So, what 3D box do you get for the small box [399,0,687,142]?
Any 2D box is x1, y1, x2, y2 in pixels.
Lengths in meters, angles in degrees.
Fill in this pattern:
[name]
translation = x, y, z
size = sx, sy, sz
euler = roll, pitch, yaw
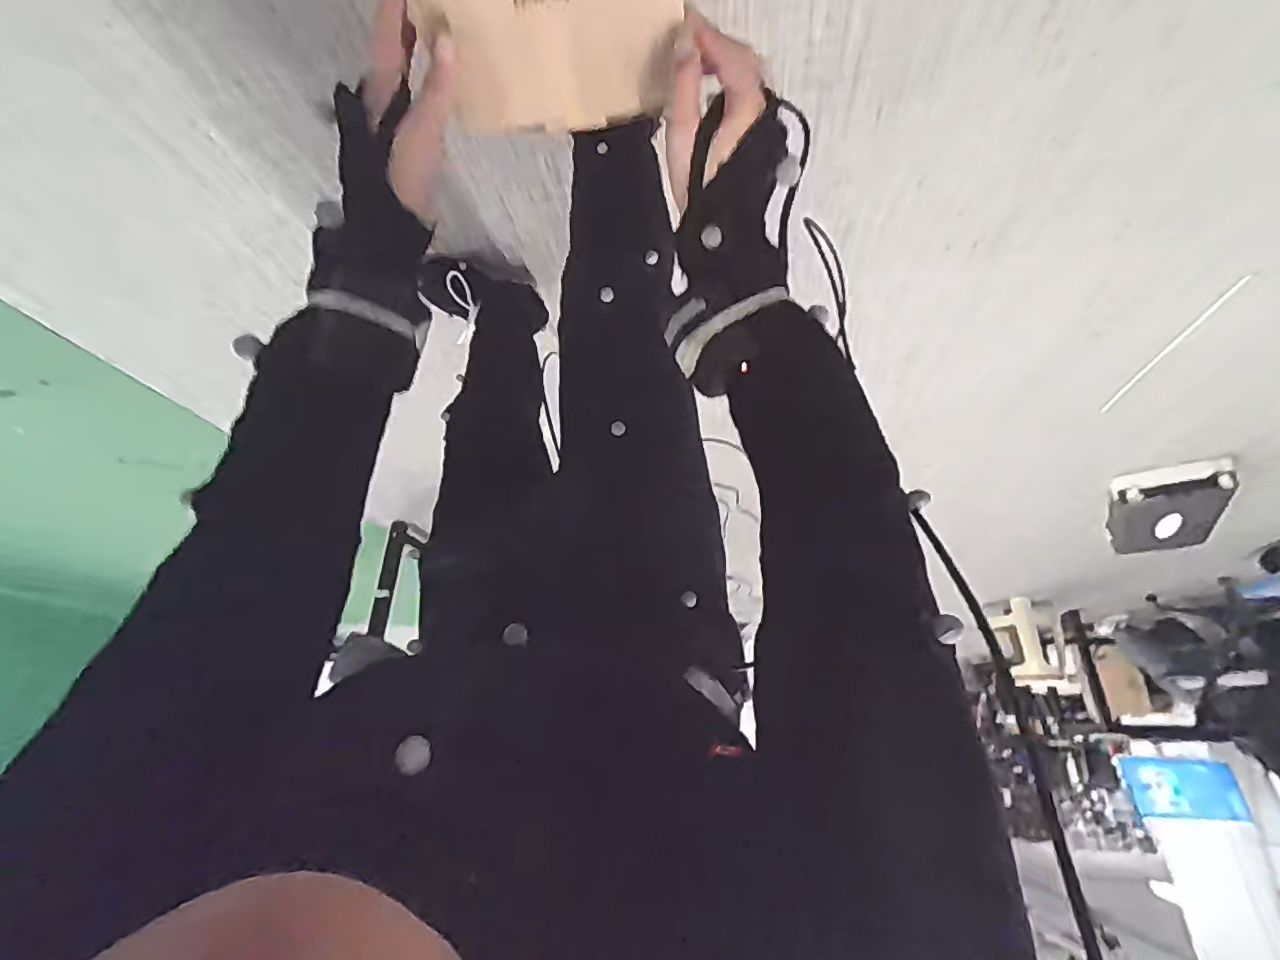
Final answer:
[small box]
translation = -0.057, -0.355, 0.338
size = 0.168, 0.176, 0.179
euler = -3, 150, 8
